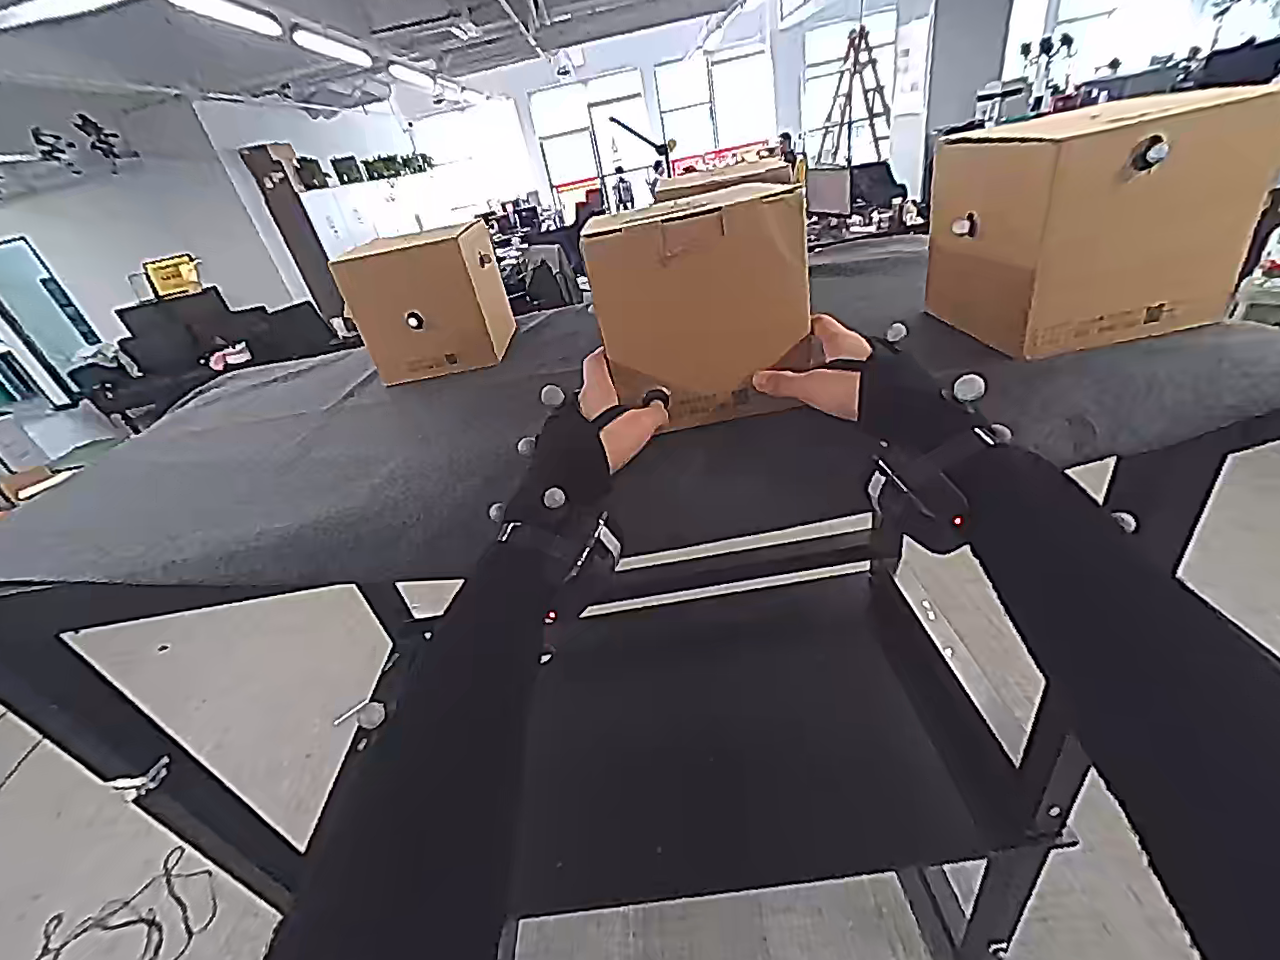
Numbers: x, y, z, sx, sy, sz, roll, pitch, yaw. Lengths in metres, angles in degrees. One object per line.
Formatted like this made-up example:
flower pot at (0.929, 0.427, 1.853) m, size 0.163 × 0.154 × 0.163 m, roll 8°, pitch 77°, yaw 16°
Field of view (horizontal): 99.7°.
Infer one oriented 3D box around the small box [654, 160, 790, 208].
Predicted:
small box at (0.115, -0.328, 0.750) m, size 0.168 × 0.176 × 0.179 m, roll -7°, pitch 32°, yaw 8°

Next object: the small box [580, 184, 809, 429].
small box at (0.050, -0.157, 0.496) m, size 0.168 × 0.176 × 0.179 m, roll -10°, pitch 29°, yaw 4°

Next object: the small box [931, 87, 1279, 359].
small box at (0.383, -0.222, 0.481) m, size 0.168 × 0.176 × 0.179 m, roll -11°, pitch 31°, yaw 4°

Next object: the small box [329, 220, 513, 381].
small box at (-0.290, -0.250, 0.765) m, size 0.168 × 0.176 × 0.179 m, roll -10°, pitch 32°, yaw 3°
